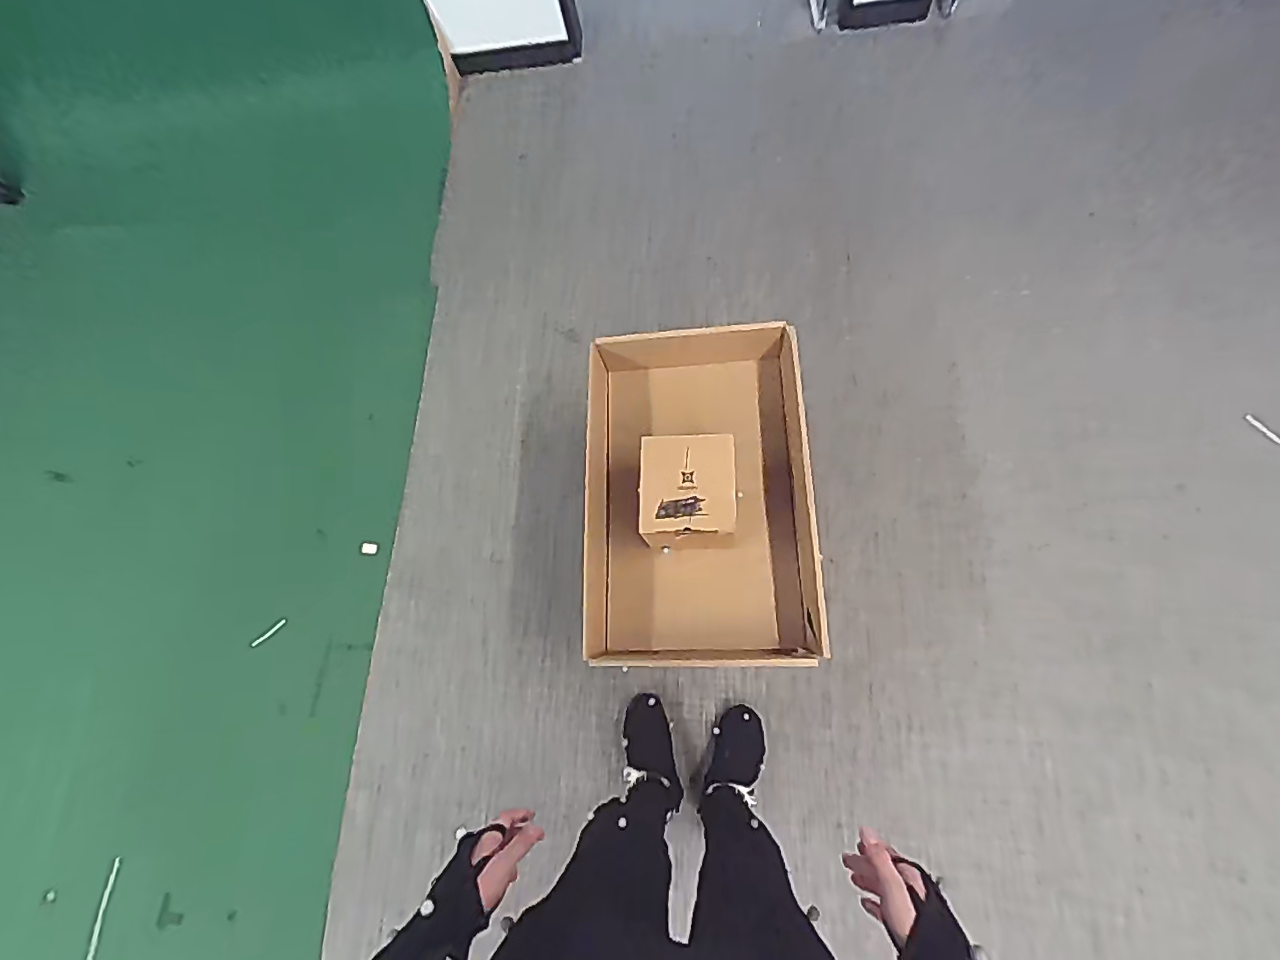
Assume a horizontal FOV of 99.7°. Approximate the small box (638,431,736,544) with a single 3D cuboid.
[{"bbox_3d":[0.092,0.022,0.995,0.168,0.176,0.179,-1,73,8],"label":"small box"}]
